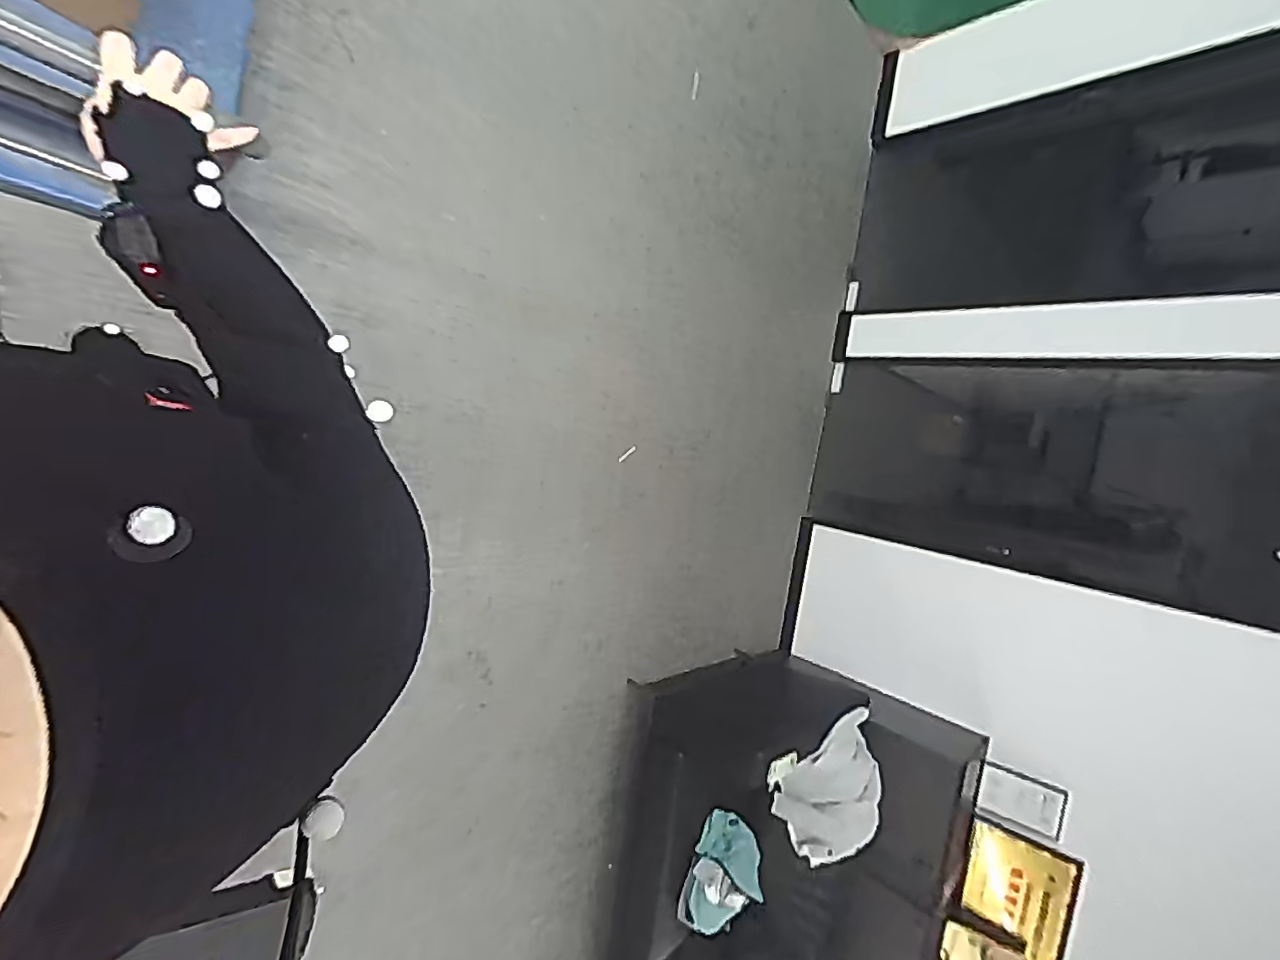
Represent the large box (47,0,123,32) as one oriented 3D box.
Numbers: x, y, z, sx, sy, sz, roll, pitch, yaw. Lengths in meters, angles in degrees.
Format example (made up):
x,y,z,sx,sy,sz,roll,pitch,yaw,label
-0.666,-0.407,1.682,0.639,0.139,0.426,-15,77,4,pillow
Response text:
x,y,z,sx,sy,sz,roll,pitch,yaw,label
-0.882,-0.896,0.662,0.408,0.320,0.320,12,92,-48,large box
